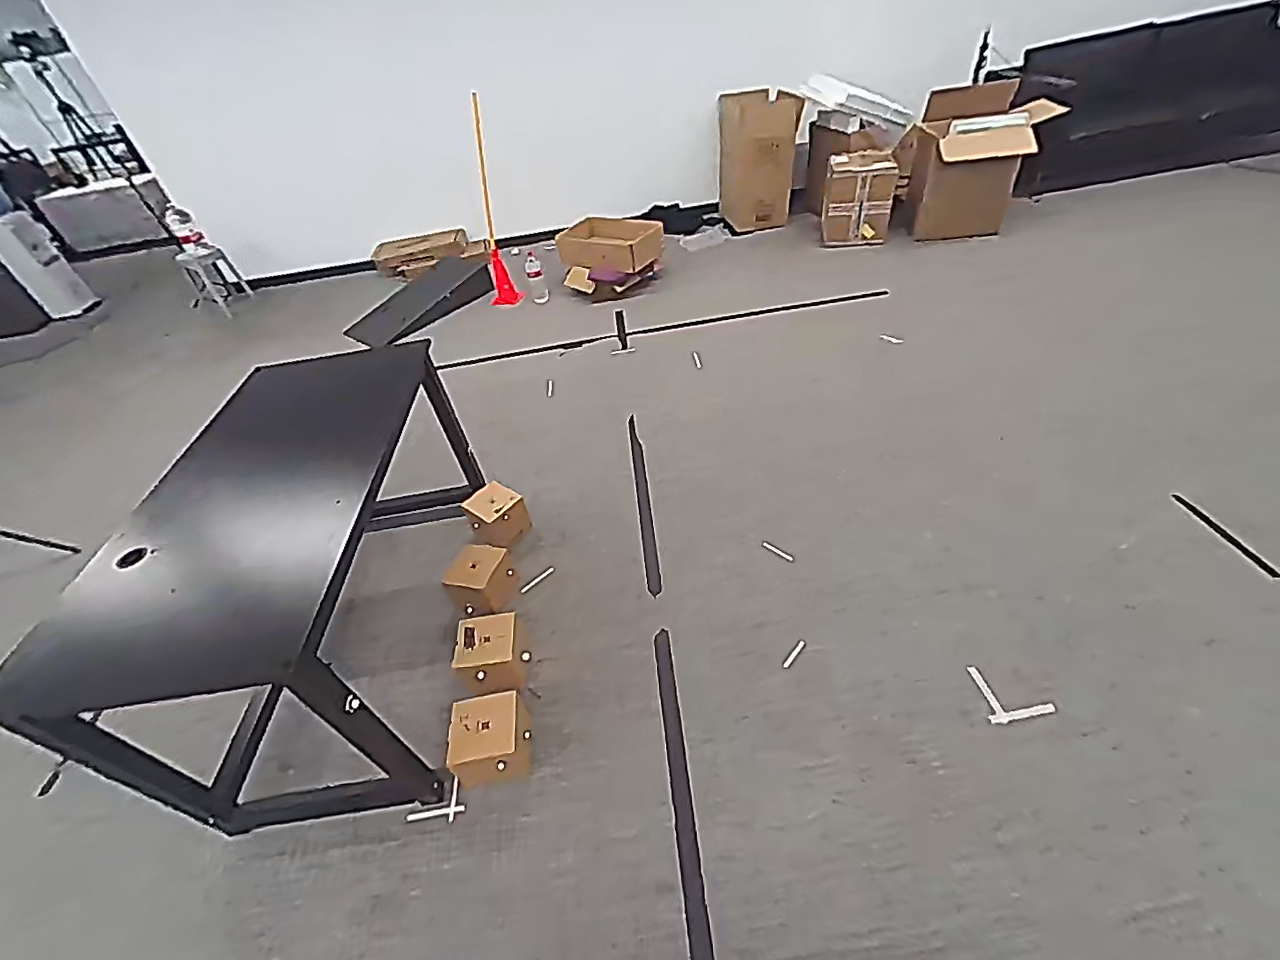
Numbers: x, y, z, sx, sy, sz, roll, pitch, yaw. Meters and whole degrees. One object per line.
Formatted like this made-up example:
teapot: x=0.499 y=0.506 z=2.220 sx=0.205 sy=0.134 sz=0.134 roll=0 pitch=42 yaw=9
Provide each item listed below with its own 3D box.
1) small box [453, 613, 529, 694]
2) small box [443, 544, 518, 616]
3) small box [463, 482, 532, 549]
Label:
small box: x=-0.448 y=0.532 z=1.651 sx=0.179 sy=0.176 sz=0.168 roll=-9 pitch=42 yaw=-1
small box: x=-0.541 y=0.348 z=1.871 sx=0.168 sy=0.176 sz=0.179 roll=5 pitch=45 yaw=17
small box: x=-0.548 y=0.142 z=2.092 sx=0.179 sy=0.176 sz=0.168 roll=24 pitch=52 yaw=31
